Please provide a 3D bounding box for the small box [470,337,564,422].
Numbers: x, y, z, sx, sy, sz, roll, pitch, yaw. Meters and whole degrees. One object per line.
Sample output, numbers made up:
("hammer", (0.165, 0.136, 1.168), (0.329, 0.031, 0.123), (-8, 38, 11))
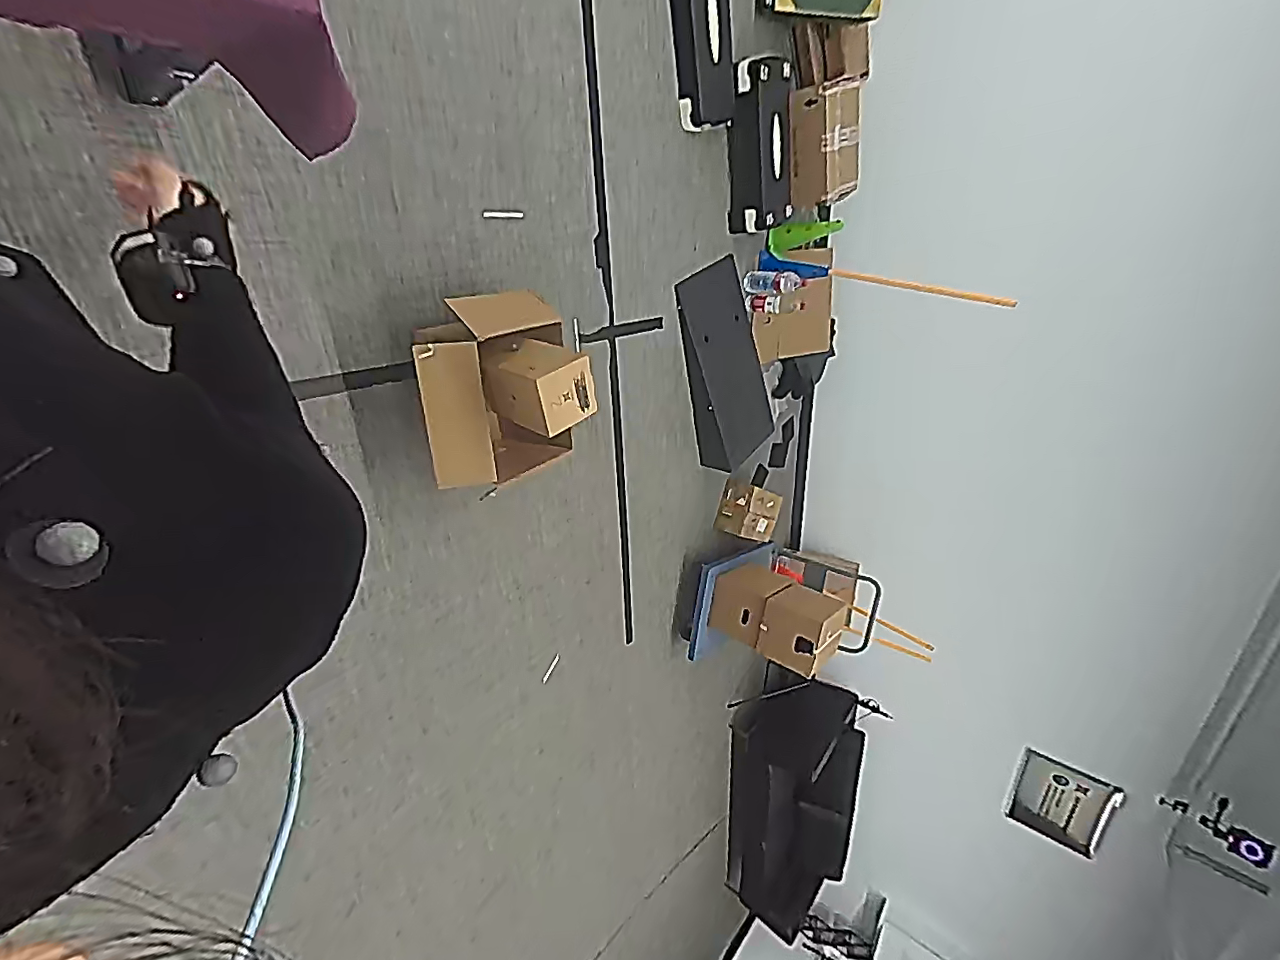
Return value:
("small box", (-0.355, -0.297, 1.551), (0.168, 0.176, 0.179), (-45, 138, -27))
